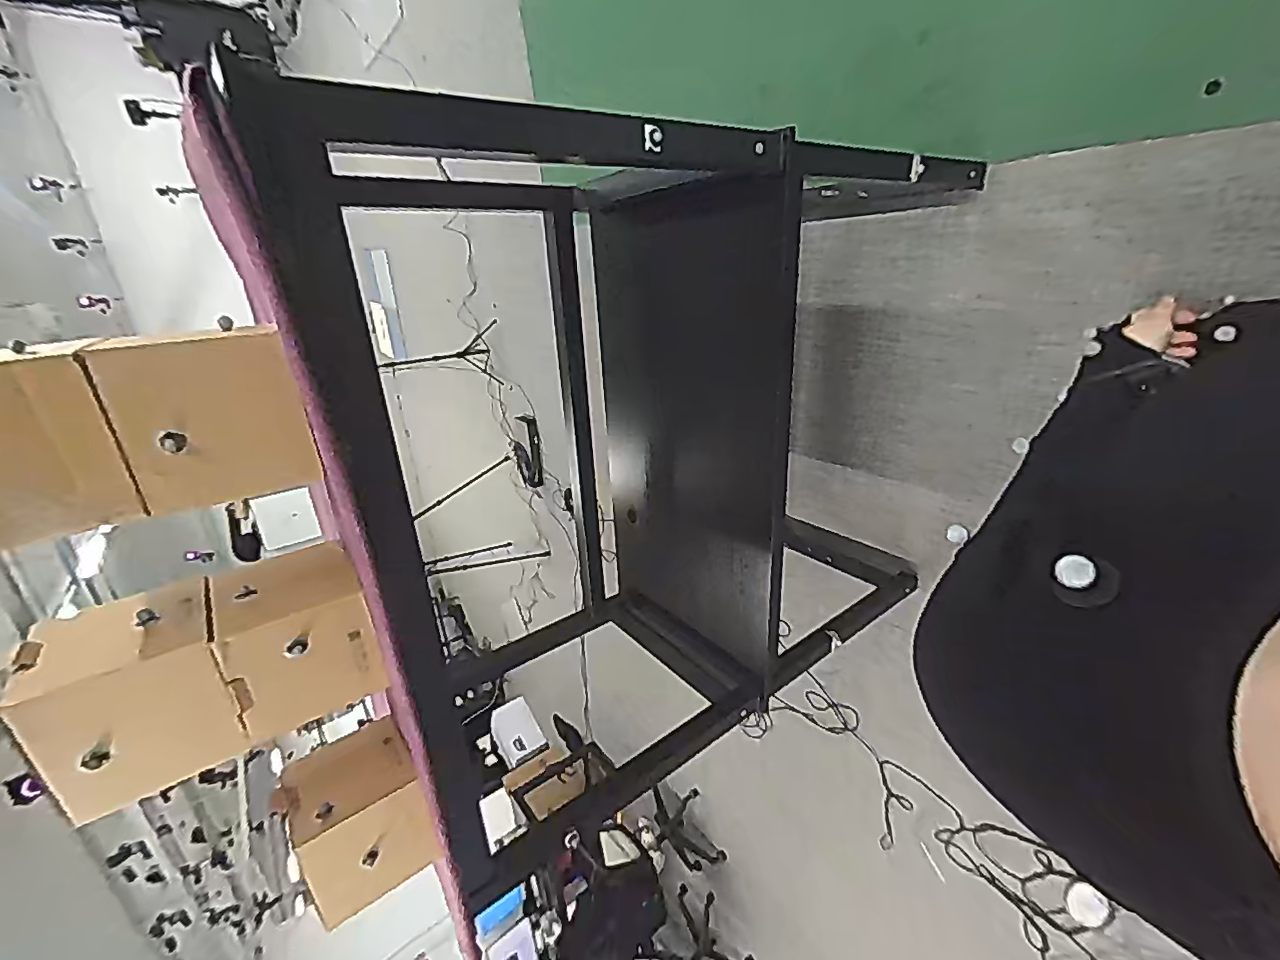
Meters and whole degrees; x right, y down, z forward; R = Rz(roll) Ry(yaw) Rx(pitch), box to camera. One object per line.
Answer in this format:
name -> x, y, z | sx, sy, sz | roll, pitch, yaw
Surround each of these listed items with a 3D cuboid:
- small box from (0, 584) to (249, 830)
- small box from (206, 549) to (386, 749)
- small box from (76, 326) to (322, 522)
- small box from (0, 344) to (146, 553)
small box -> -0.595, 0.257, 0.652 | 0.168, 0.176, 0.179 | 25, 125, 47
small box -> -0.463, 0.215, 0.741 | 0.179, 0.176, 0.168 | 26, 125, 49
small box -> -0.490, -0.077, 0.631 | 0.168, 0.176, 0.179 | 25, 125, 51
small box -> -0.625, -0.034, 0.553 | 0.168, 0.176, 0.179 | 25, 126, 51
